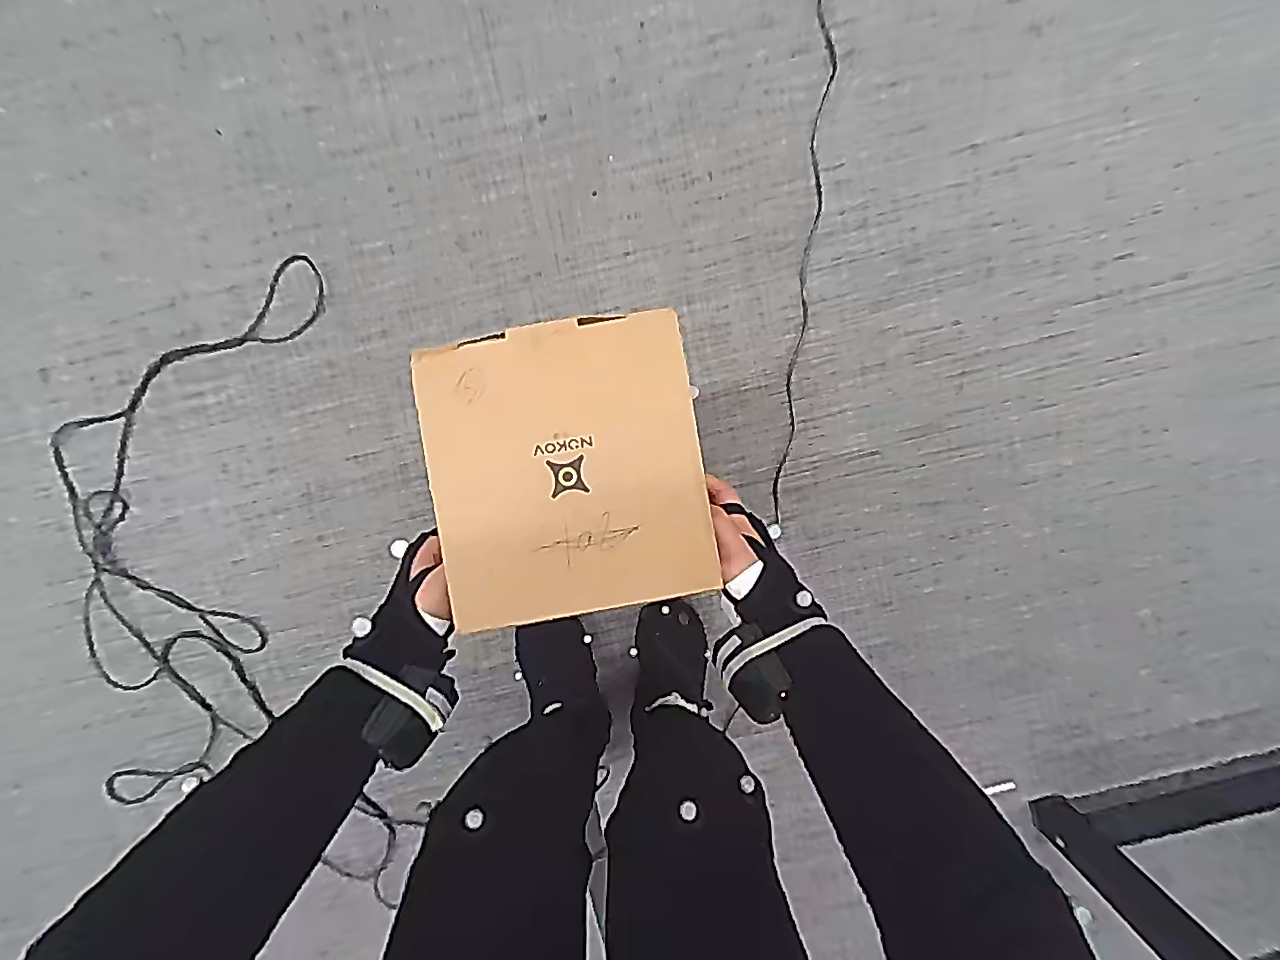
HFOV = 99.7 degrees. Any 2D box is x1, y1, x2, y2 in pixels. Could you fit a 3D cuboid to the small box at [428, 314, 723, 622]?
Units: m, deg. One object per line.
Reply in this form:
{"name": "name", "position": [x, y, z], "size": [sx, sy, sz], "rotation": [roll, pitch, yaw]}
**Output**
{"name": "small box", "position": [-0.042, -0.008, 0.422], "size": [0.168, 0.176, 0.179], "rotation": [-10, 91, 0]}
